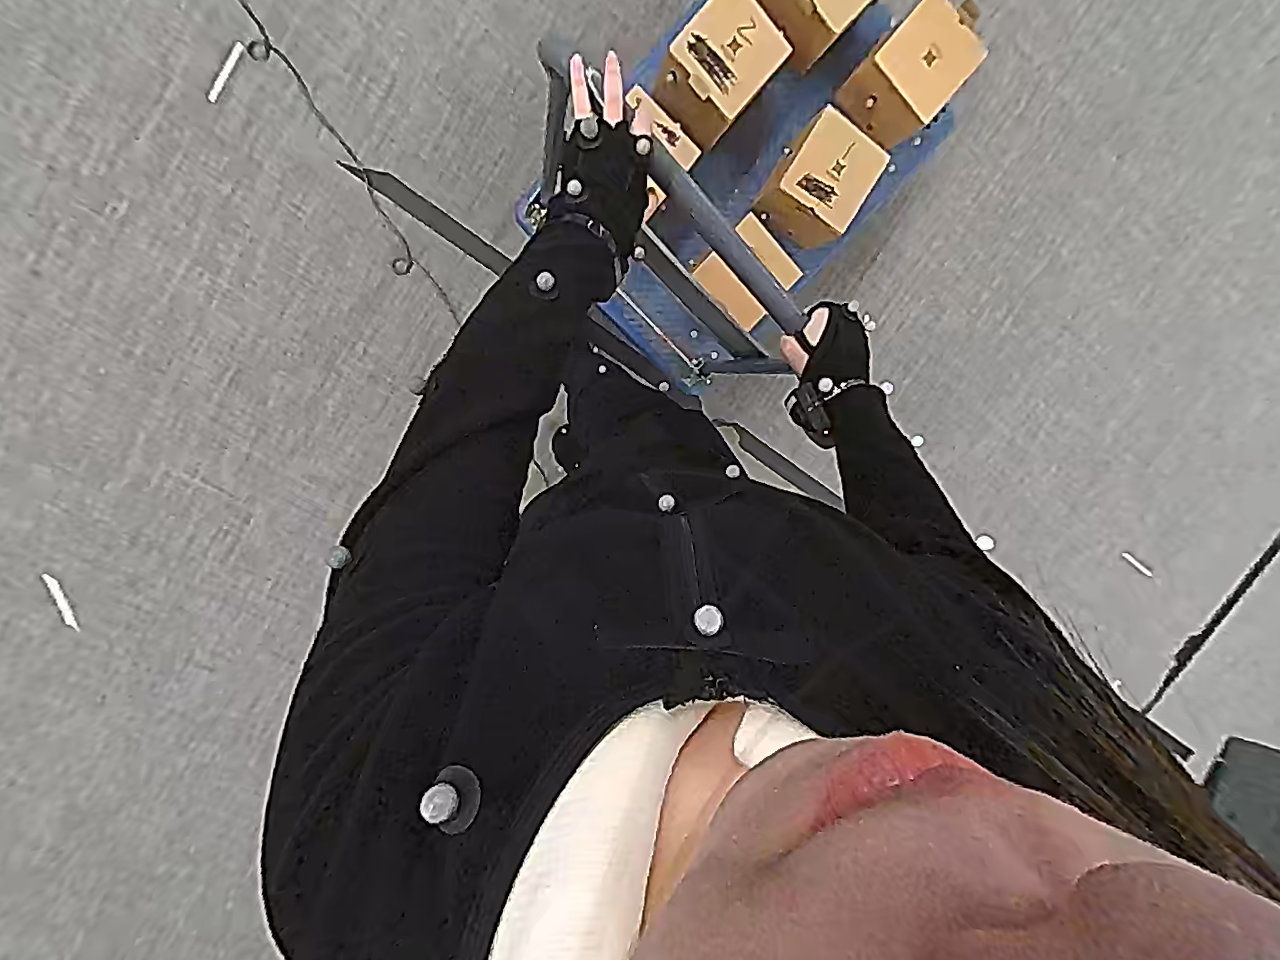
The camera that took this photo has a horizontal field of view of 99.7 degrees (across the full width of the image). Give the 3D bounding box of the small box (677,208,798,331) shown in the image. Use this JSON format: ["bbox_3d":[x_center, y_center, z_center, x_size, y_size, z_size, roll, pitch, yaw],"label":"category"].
[{"bbox_3d":[0.197,-0.437,1.160,0.168,0.176,0.179,43,93,-16],"label":"small box"}]

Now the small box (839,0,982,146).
[{"bbox_3d":[0.541,-0.839,1.115,0.168,0.176,0.179,40,95,-15],"label":"small box"}]

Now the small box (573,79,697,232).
[{"bbox_3d":[-0.017,-0.628,1.077,0.168,0.176,0.179,39,95,-17],"label":"small box"}]

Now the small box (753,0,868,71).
[{"bbox_3d":[0.352,-0.964,1.054,0.179,0.176,0.168,-44,105,4],"label":"small box"}]

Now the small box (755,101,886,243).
[{"bbox_3d":[0.365,-0.631,1.138,0.168,0.176,0.179,30,96,-14],"label":"small box"}]
